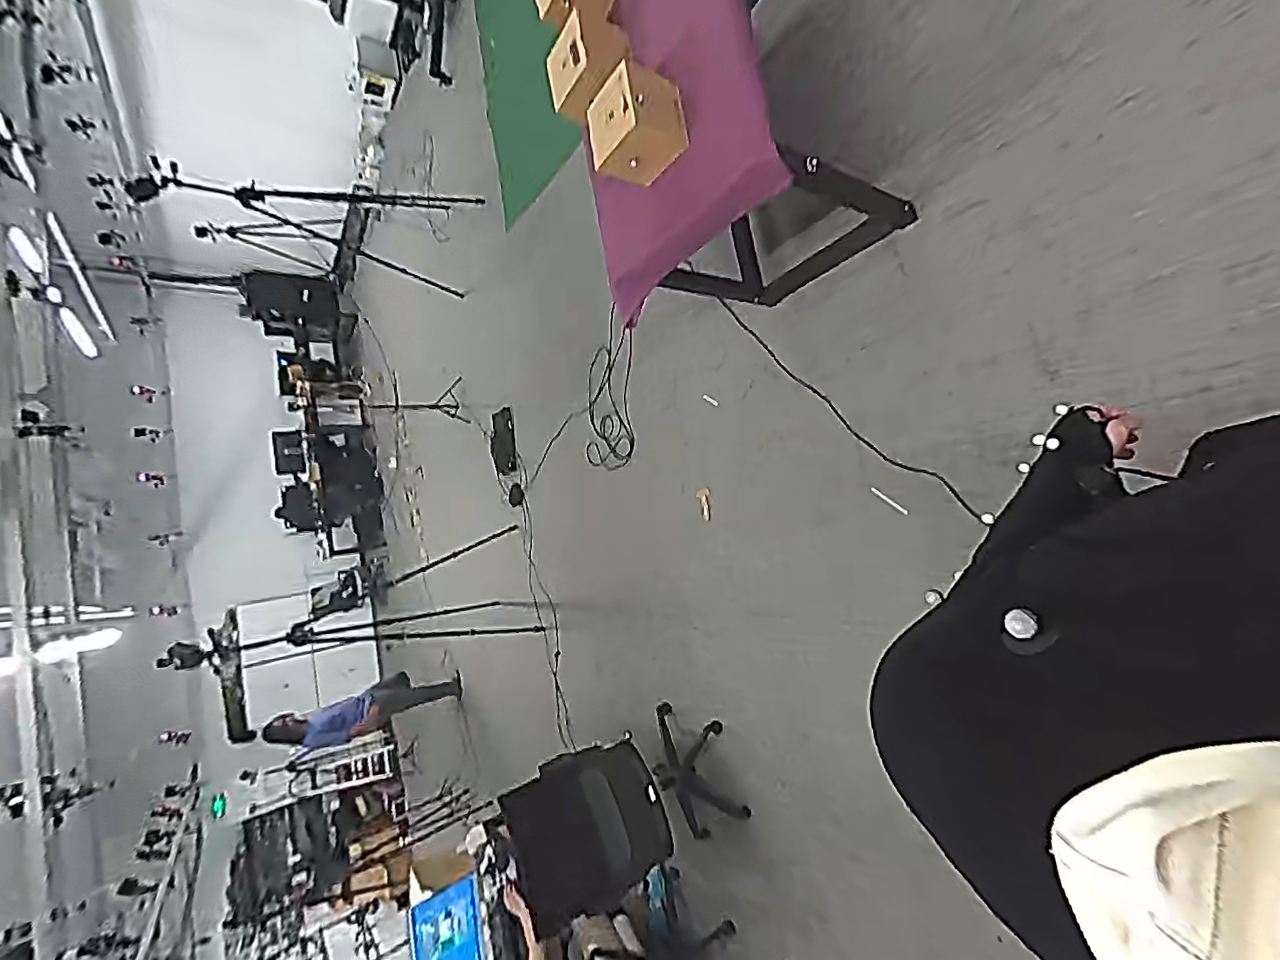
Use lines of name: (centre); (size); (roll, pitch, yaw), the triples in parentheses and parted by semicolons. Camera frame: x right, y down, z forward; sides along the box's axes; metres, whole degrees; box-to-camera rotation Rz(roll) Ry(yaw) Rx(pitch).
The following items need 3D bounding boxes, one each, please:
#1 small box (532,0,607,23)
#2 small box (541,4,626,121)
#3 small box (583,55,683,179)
small box: (-0.195, -1.397, 1.497); (0.179, 0.176, 0.168); (-20, 80, 51)
small box: (-0.144, -1.118, 1.470); (0.179, 0.176, 0.168); (-19, 80, 53)
small box: (-0.018, -0.884, 1.340); (0.179, 0.176, 0.168); (-17, 82, 52)
